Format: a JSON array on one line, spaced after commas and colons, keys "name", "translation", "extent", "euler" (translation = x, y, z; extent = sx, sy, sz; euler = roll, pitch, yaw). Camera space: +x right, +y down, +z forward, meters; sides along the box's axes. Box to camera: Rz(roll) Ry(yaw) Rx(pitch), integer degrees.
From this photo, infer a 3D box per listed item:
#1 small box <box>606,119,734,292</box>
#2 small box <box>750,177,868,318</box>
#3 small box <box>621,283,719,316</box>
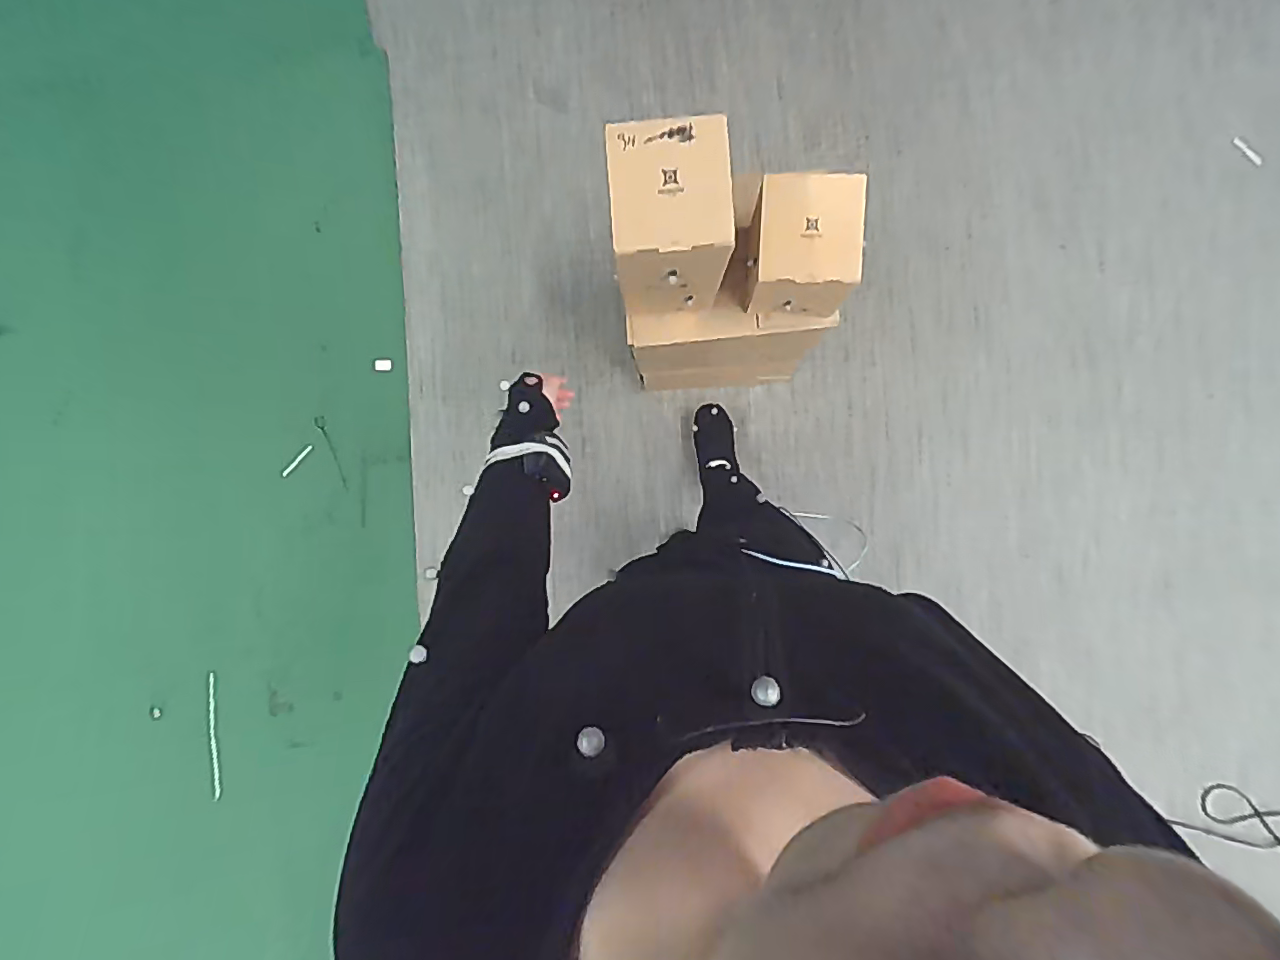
[{"name": "small box", "translation": [0.044, -0.389, 0.802], "extent": [0.168, 0.176, 0.179], "euler": [-4, 91, 2]}, {"name": "small box", "translation": [0.286, -0.400, 0.948], "extent": [0.168, 0.176, 0.179], "euler": [2, 90, 5]}, {"name": "small box", "translation": [0.052, -0.401, 0.966], "extent": [0.168, 0.176, 0.179], "euler": [-2, 90, 2]}]
